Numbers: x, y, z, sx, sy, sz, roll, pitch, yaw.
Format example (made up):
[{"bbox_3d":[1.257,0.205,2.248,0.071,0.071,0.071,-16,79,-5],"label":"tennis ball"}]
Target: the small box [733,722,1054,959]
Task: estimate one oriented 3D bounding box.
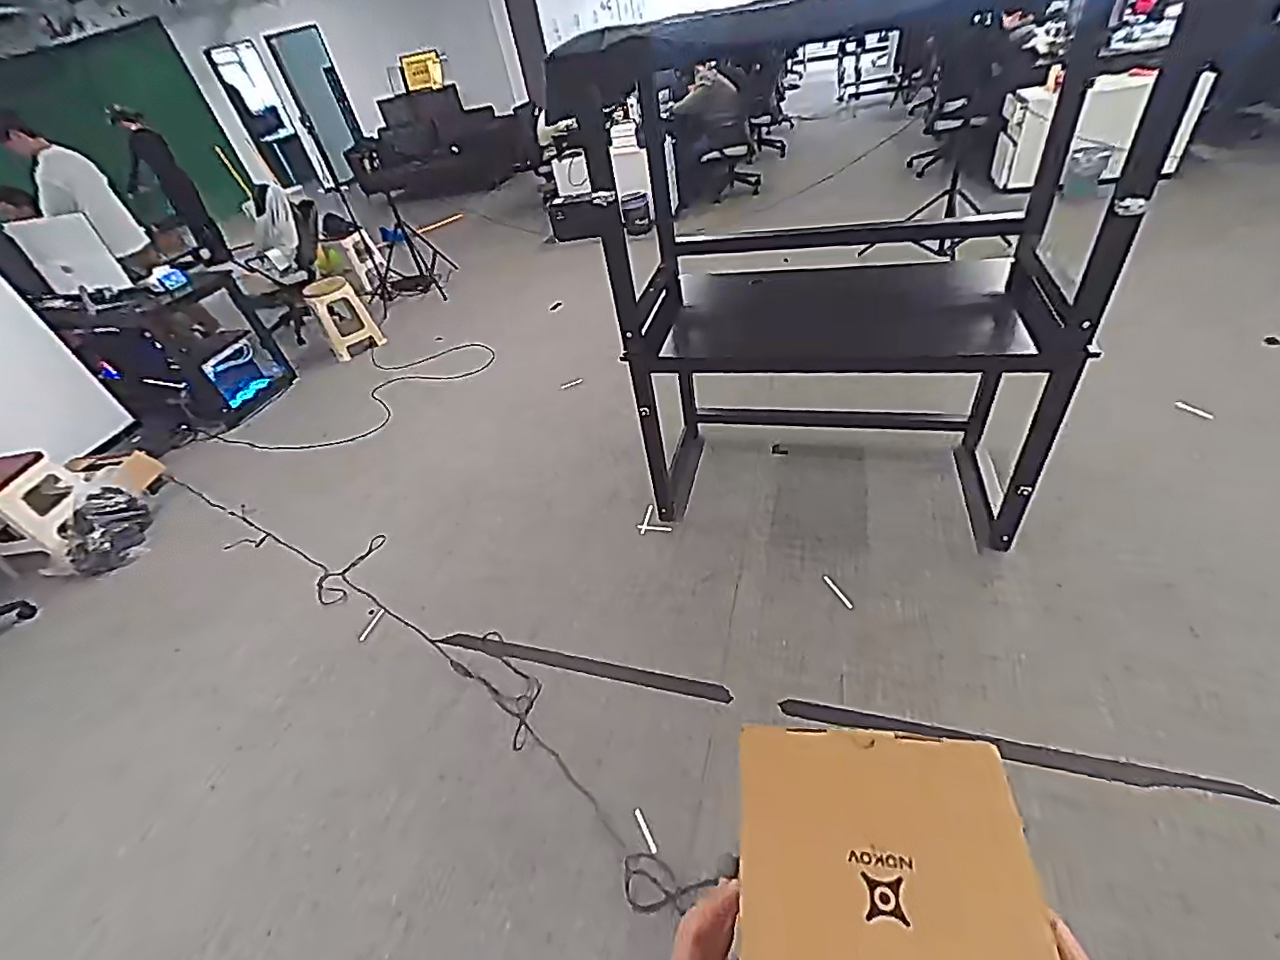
[{"bbox_3d":[0.152,0.290,0.366,0.168,0.176,0.179,-1,44,12],"label":"small box"}]
